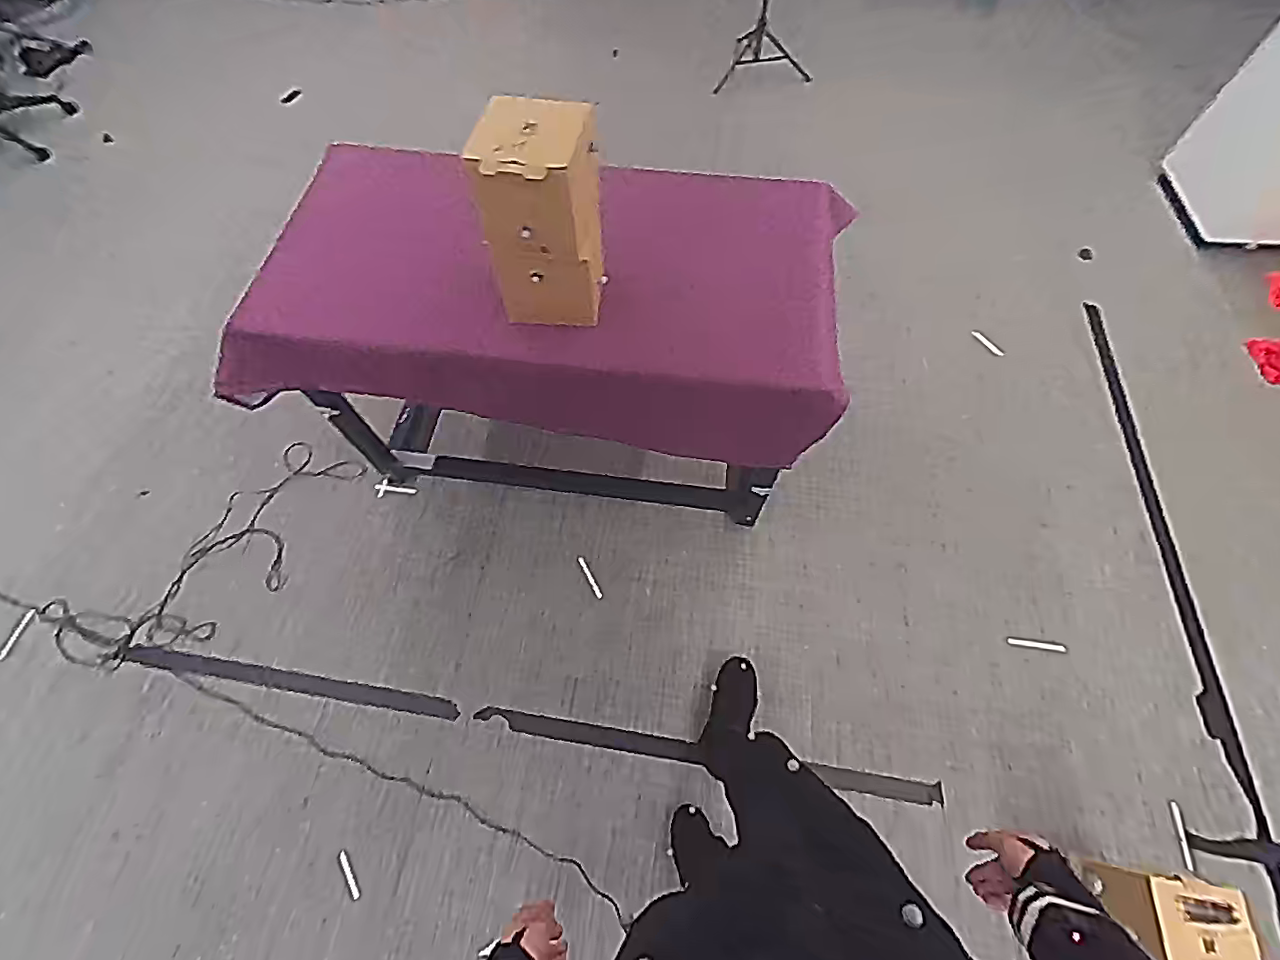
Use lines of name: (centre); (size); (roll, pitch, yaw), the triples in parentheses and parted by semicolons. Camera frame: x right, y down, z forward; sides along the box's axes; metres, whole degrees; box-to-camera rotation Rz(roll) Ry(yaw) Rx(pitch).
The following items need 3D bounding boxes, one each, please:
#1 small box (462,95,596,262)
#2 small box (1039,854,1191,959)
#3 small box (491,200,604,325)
small box: (-0.171, -0.497, 0.900); (0.168, 0.176, 0.179); (8, 63, 5)
small box: (1.010, 0.928, 1.172); (0.179, 0.176, 0.168); (4, 64, 2)
small box: (-0.169, -0.419, 1.045); (0.179, 0.176, 0.168); (3, 63, 2)
